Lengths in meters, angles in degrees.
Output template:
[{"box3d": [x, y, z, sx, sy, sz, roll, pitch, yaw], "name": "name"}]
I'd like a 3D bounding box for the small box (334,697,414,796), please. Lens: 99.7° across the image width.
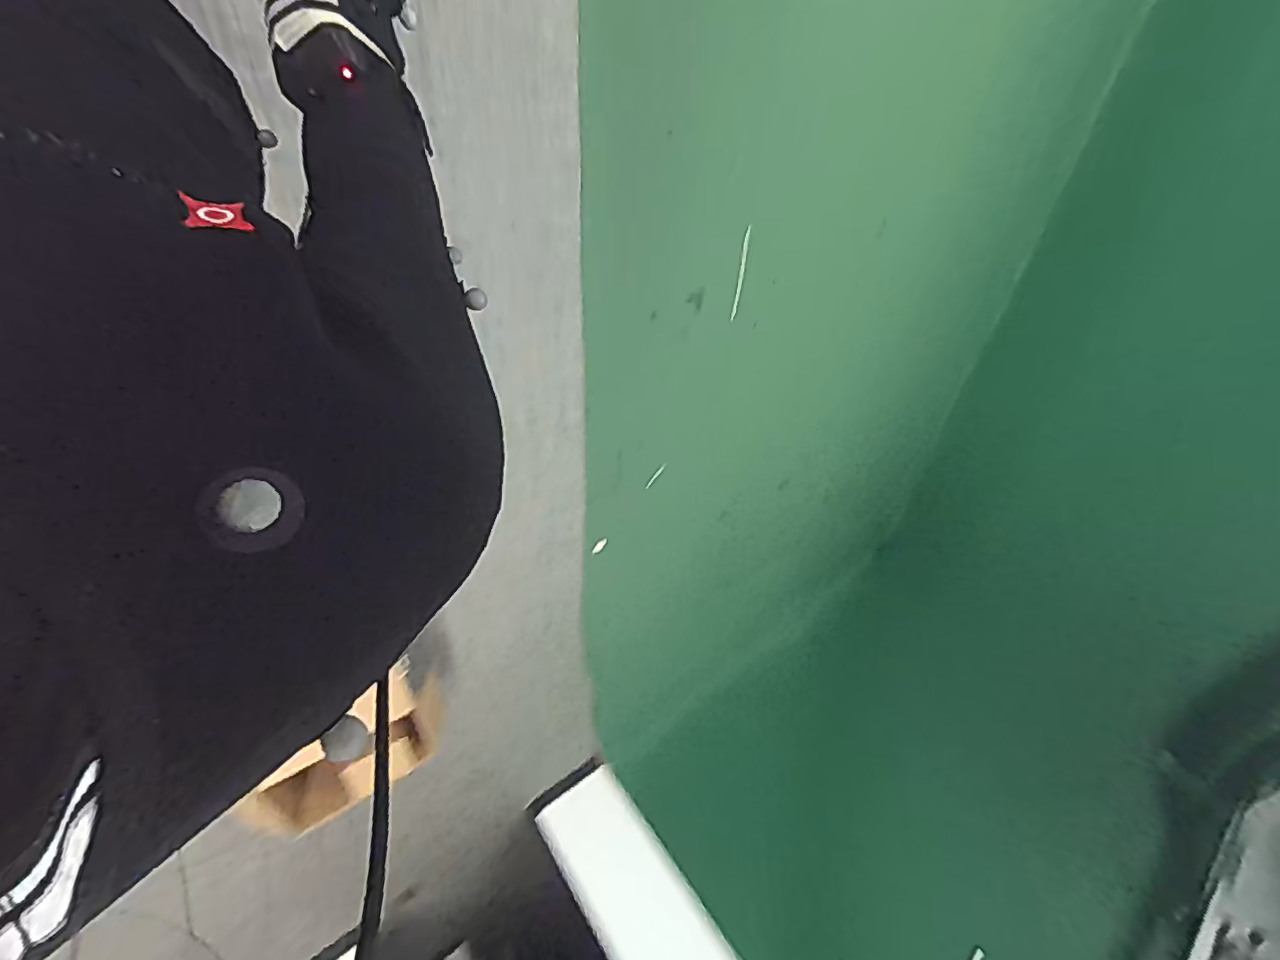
[{"box3d": [-0.803, 0.800, 1.635, 0.168, 0.176, 0.179, -20, 131, -31], "name": "small box"}]
